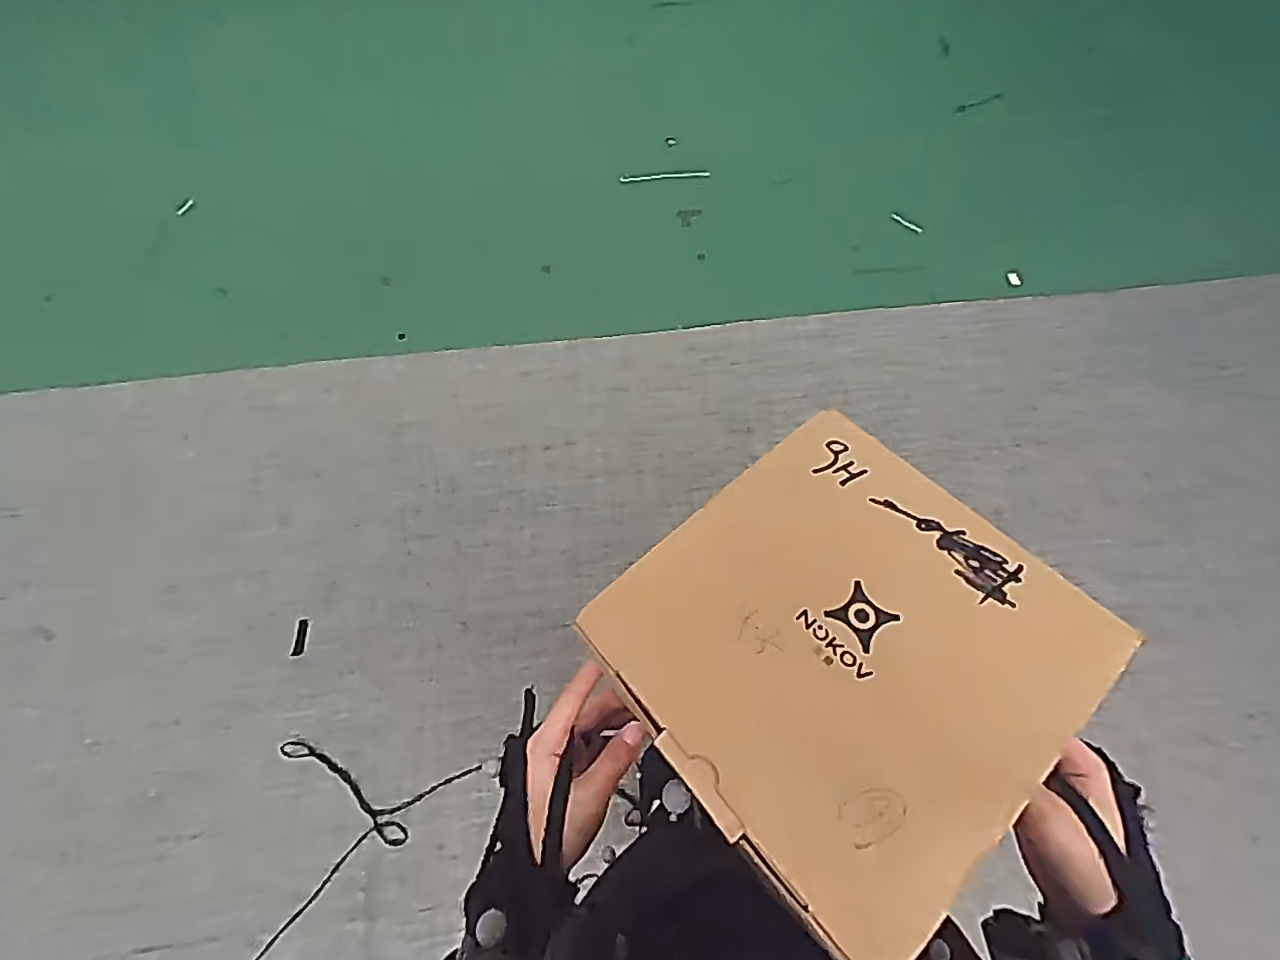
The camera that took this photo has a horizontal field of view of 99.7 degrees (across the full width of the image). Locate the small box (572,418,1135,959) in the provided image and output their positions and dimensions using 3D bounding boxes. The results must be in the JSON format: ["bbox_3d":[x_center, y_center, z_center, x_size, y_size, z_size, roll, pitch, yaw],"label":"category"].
[{"bbox_3d":[0.092,0.108,0.298,0.179,0.176,0.168,-38,64,-16],"label":"small box"}]
